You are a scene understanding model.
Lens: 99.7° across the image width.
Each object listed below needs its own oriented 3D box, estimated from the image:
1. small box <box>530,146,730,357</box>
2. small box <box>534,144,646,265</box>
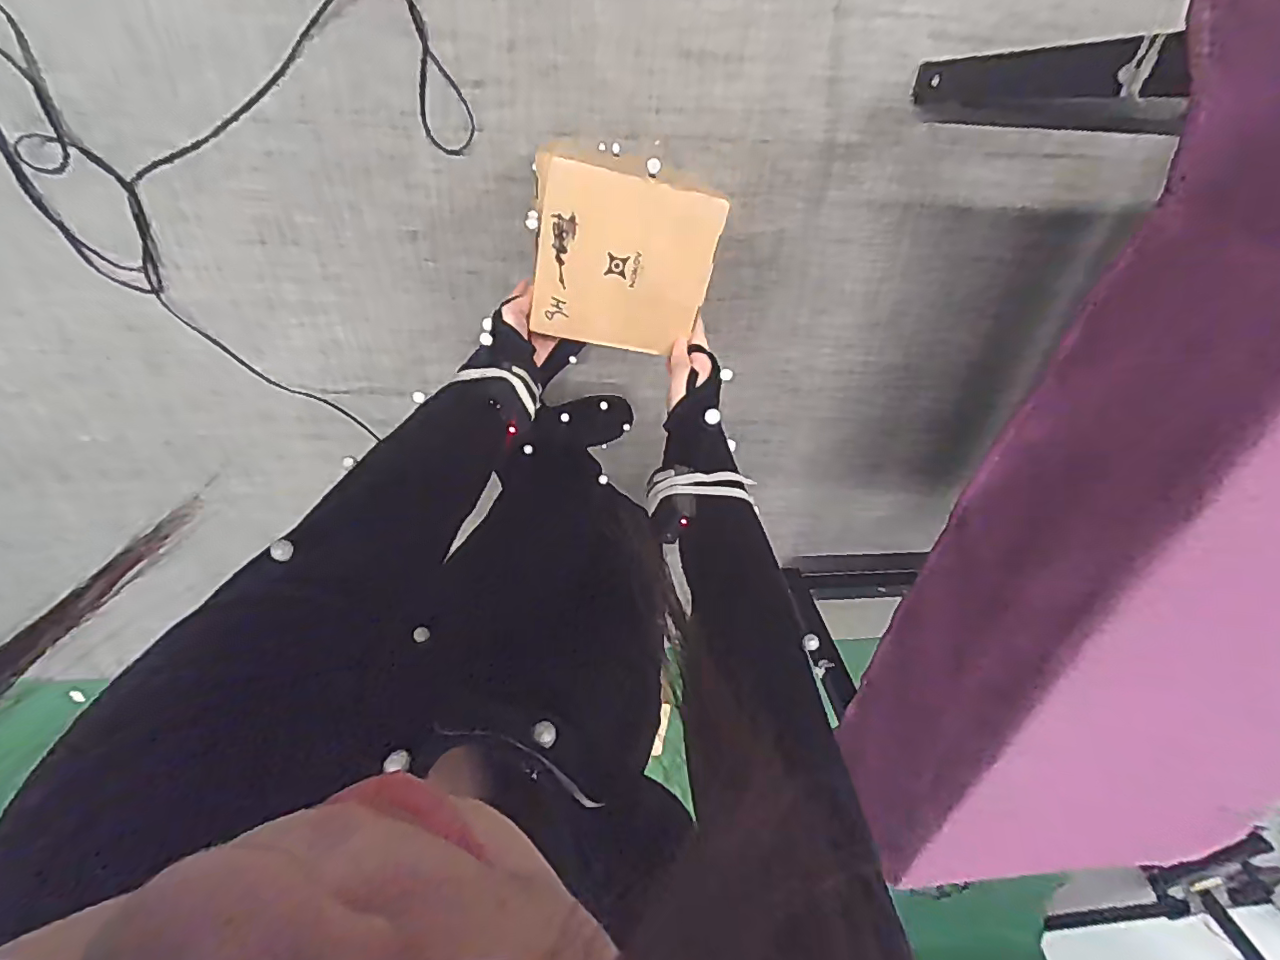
[{"bbox_3d":[-0.024,-0.260,0.609,0.179,0.176,0.168,7,124,-13],"label":"small box"},{"bbox_3d":[-0.079,-0.439,0.880,0.179,0.176,0.168,1,126,-9],"label":"small box"}]
